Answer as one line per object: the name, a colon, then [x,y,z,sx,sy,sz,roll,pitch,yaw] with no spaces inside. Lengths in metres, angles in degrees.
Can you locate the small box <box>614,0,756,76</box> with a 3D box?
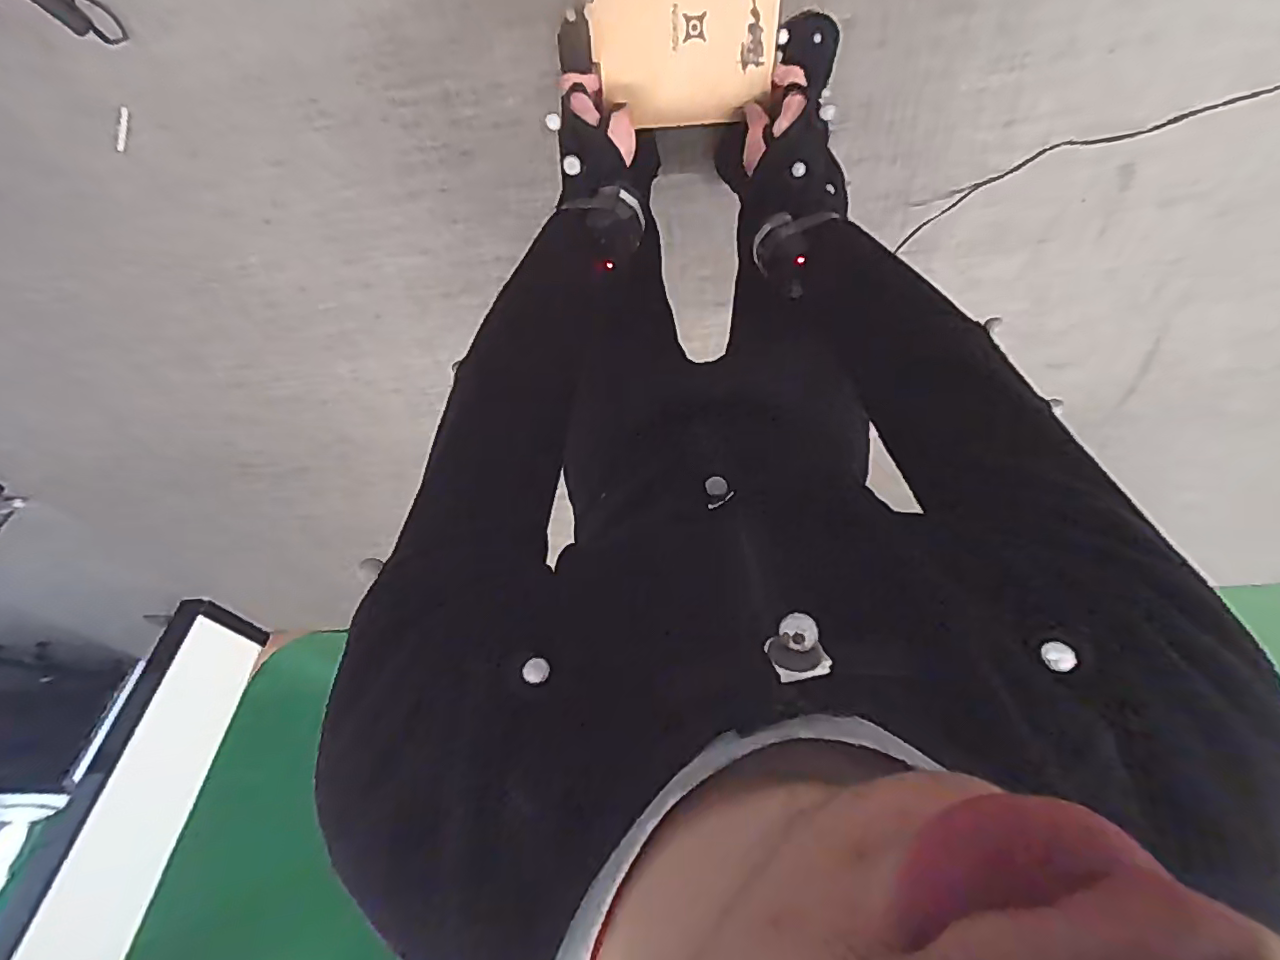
small box: [0.049,-0.639,0.658,0.168,0.176,0.179,-5,142,12]
